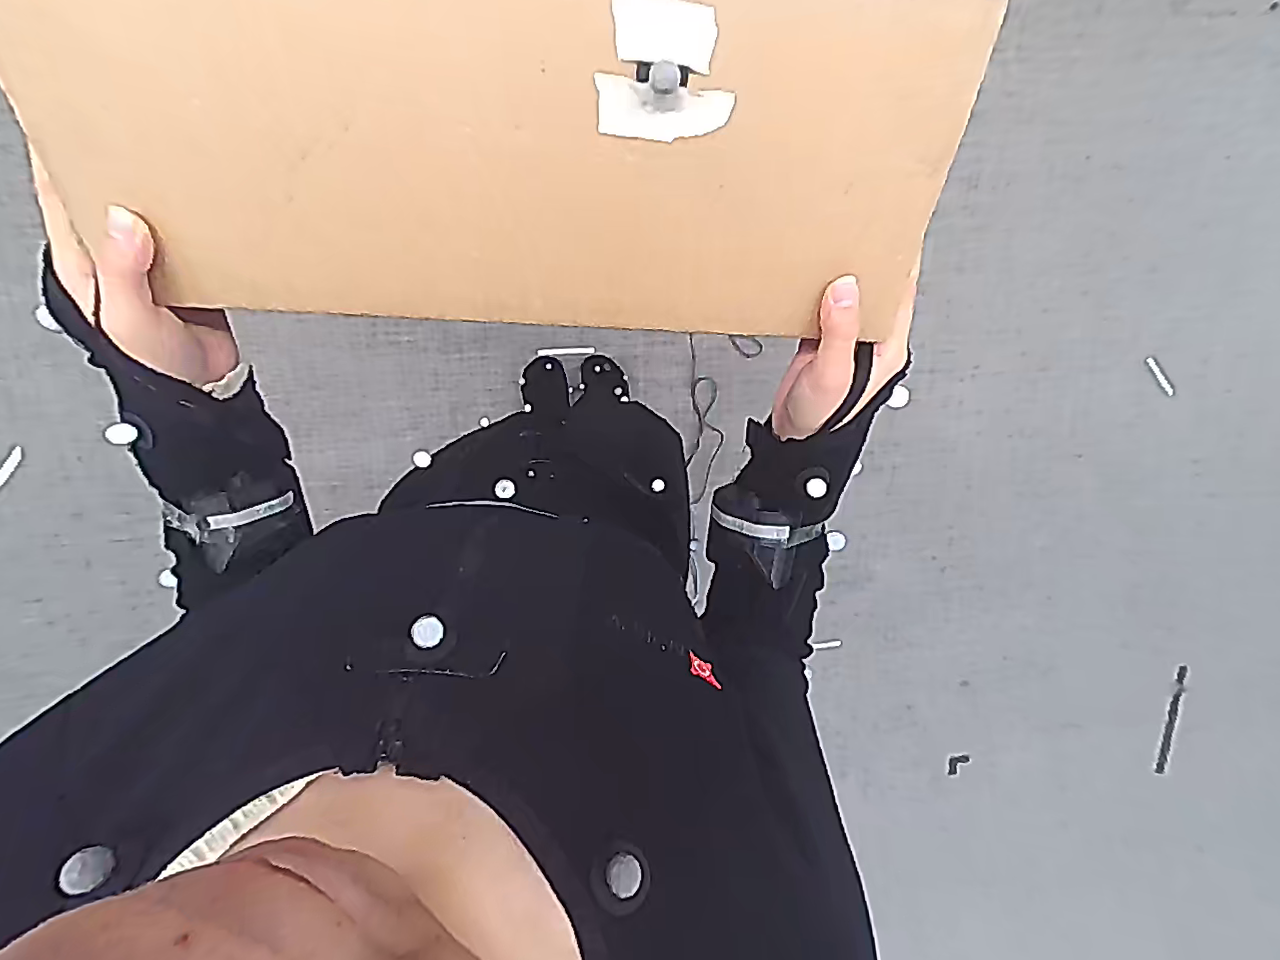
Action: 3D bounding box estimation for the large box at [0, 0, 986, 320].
[{"bbox_3d":[-0.060,-0.302,0.328,0.408,0.320,0.320,1,126,-5],"label":"large box"}]
